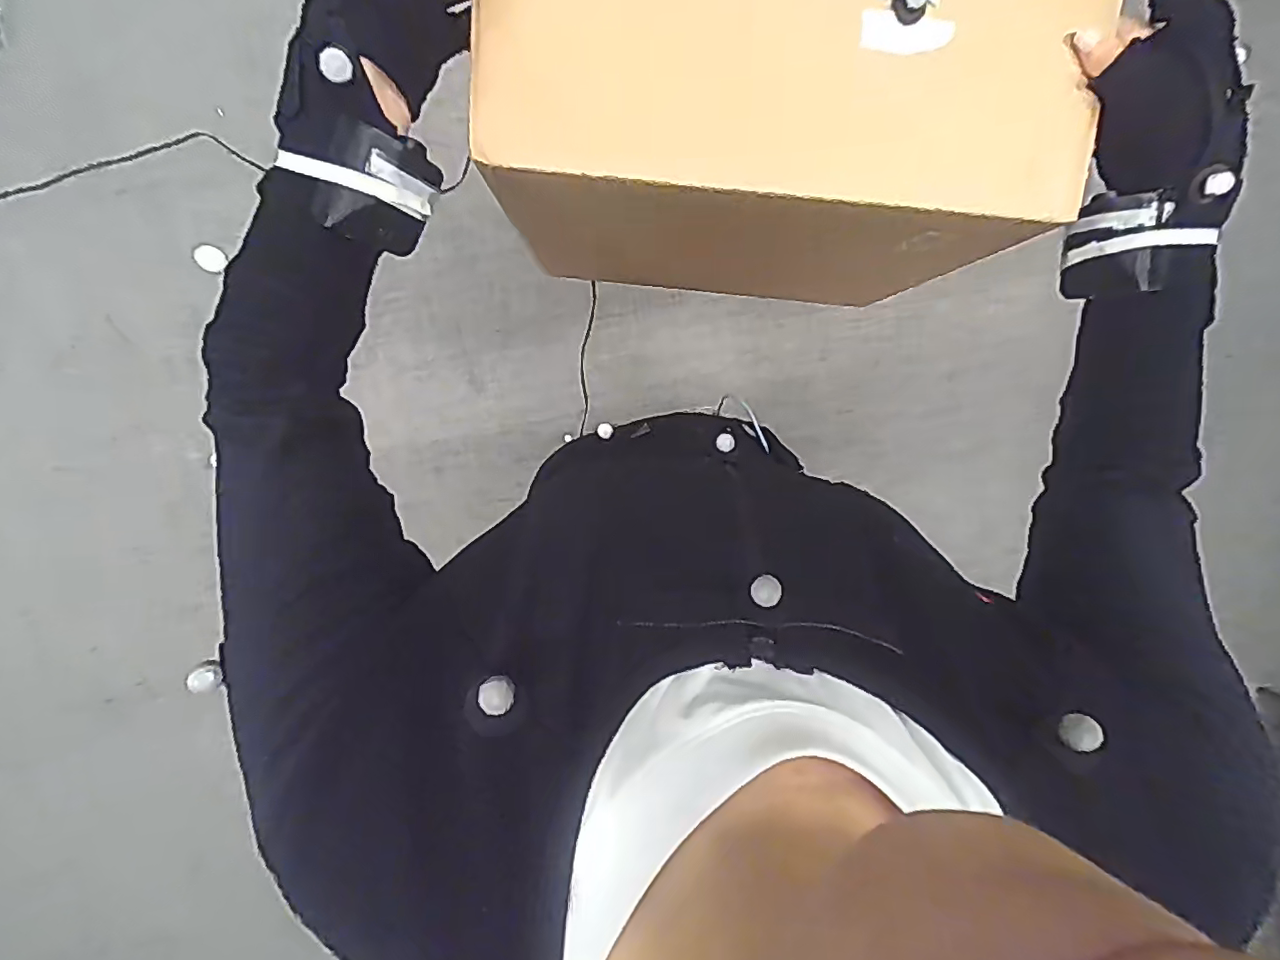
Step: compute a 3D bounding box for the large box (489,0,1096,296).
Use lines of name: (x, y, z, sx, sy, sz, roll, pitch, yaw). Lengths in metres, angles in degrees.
large box: (0.098, -0.367, 0.495, 0.408, 0.320, 0.320, 4, 98, -2)
